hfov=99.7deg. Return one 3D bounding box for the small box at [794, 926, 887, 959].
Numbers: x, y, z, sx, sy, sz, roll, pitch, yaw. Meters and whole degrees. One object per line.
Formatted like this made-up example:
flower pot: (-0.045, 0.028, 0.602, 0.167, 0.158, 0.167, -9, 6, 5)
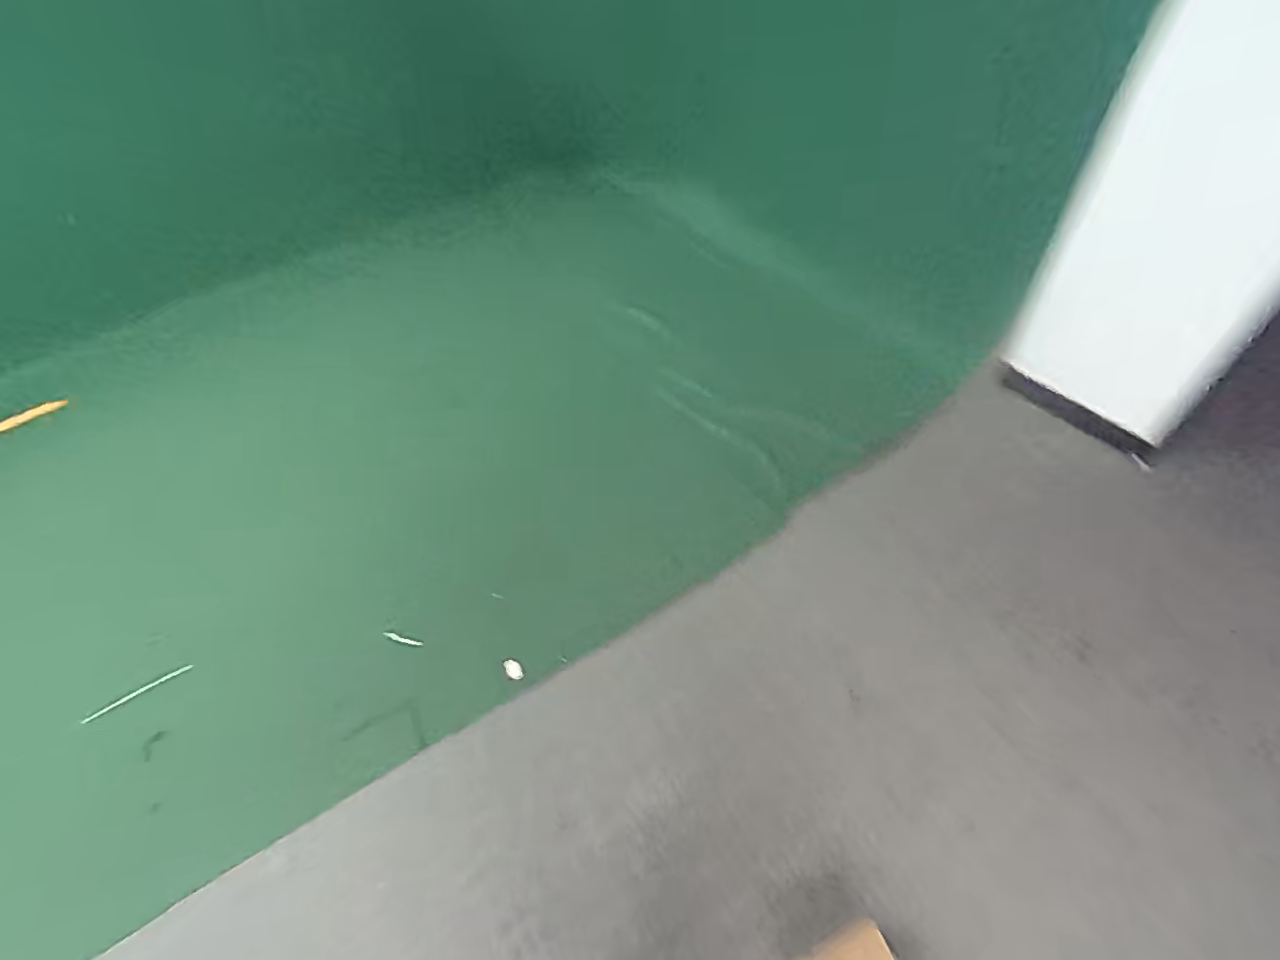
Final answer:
small box: (0.360, 0.908, 0.932, 0.179, 0.176, 0.168, -23, 51, -7)
